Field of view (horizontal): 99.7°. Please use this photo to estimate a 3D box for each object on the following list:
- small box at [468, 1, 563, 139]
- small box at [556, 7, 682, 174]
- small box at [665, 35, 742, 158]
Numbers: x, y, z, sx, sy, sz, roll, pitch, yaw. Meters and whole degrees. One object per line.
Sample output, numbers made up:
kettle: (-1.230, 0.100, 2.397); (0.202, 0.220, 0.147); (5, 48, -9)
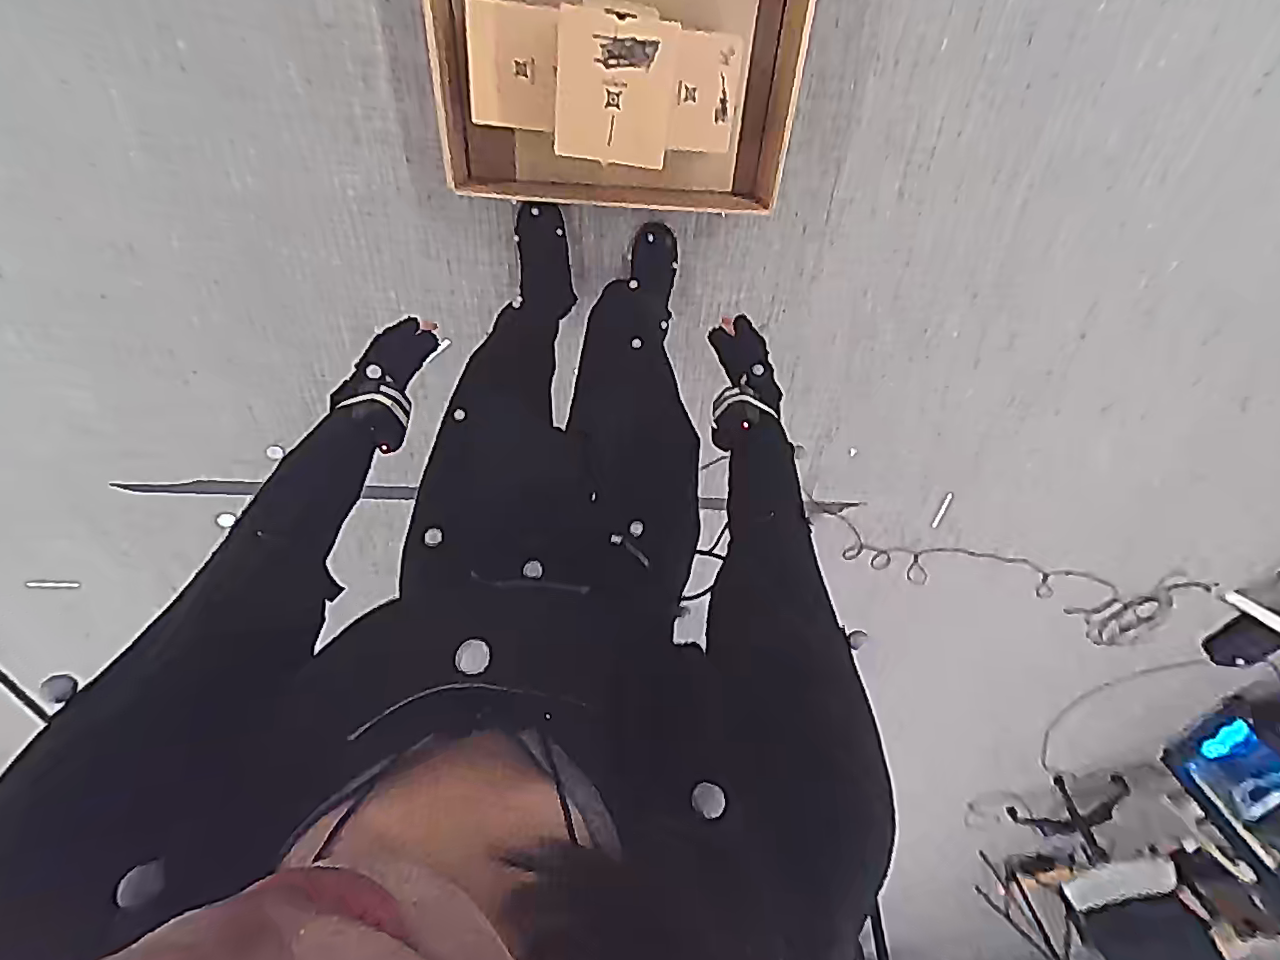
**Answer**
small box: (-0.192, -0.707, 0.944); (0.179, 0.176, 0.168); (4, 125, -6)
small box: (-0.039, -0.593, 0.835); (0.168, 0.176, 0.179); (5, 126, -7)
small box: (0.073, -0.691, 0.976); (0.179, 0.176, 0.168); (3, 126, -3)
